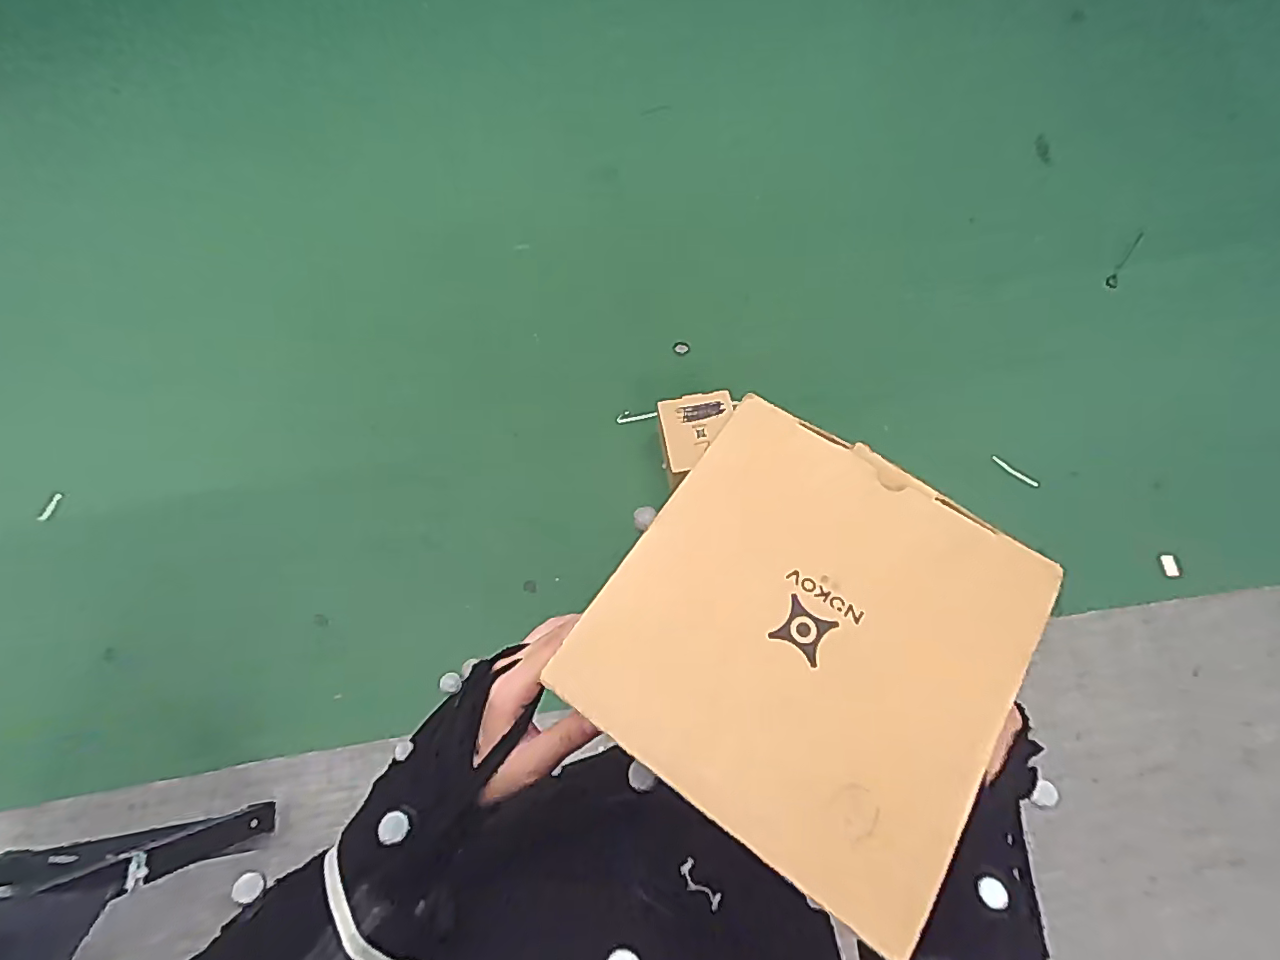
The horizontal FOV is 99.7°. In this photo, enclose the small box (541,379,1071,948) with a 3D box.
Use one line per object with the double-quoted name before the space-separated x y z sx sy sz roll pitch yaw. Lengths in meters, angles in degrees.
"small box" 0.075 0.086 0.301 0.168 0.176 0.179 33 70 15
